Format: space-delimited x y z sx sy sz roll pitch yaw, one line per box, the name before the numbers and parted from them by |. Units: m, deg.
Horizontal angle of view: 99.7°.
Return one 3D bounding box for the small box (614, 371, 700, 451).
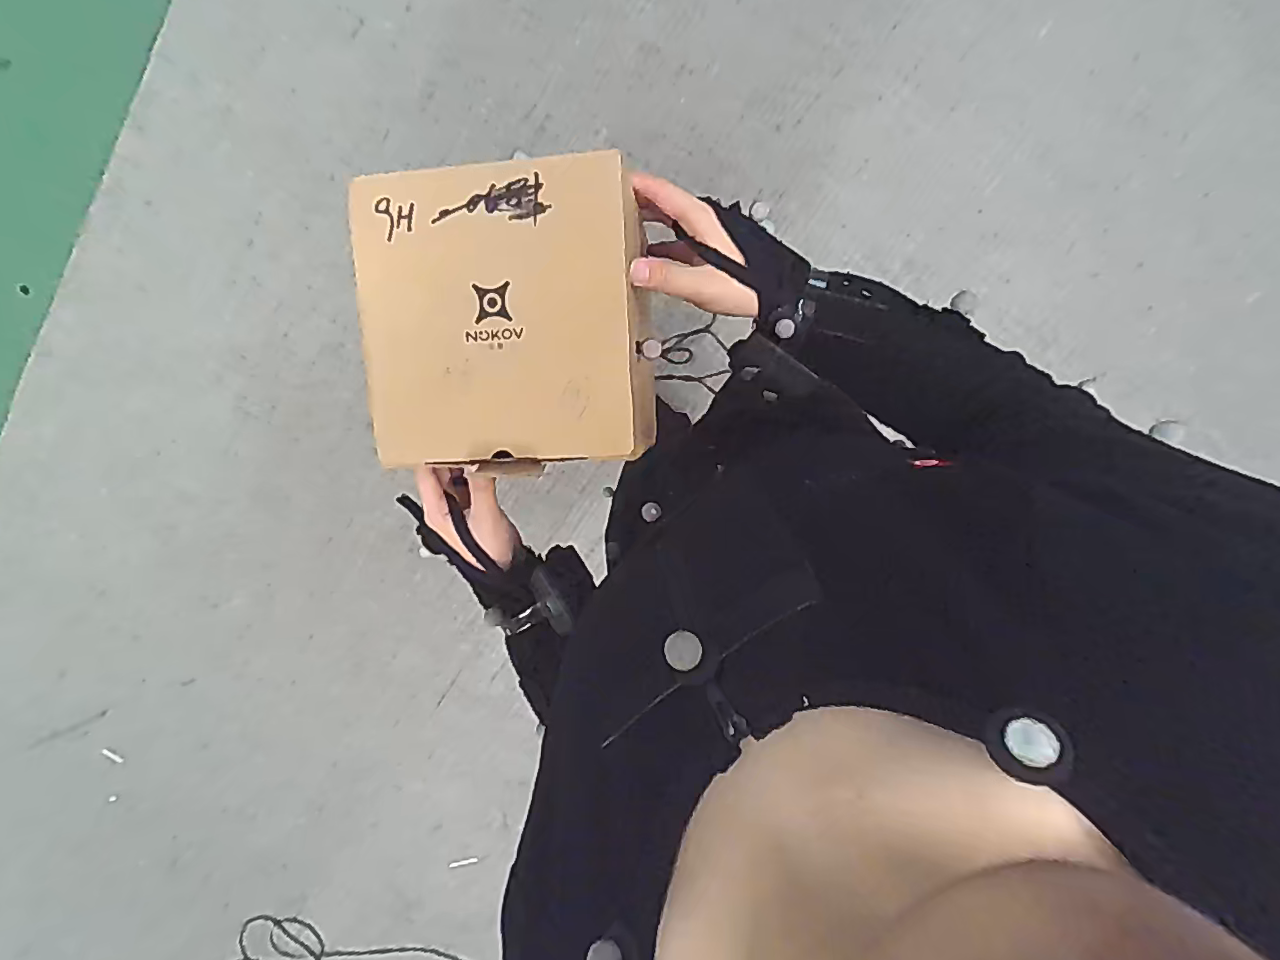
small box | 0.043 -0.163 1.285 0.179 0.176 0.168 -7 97 9
